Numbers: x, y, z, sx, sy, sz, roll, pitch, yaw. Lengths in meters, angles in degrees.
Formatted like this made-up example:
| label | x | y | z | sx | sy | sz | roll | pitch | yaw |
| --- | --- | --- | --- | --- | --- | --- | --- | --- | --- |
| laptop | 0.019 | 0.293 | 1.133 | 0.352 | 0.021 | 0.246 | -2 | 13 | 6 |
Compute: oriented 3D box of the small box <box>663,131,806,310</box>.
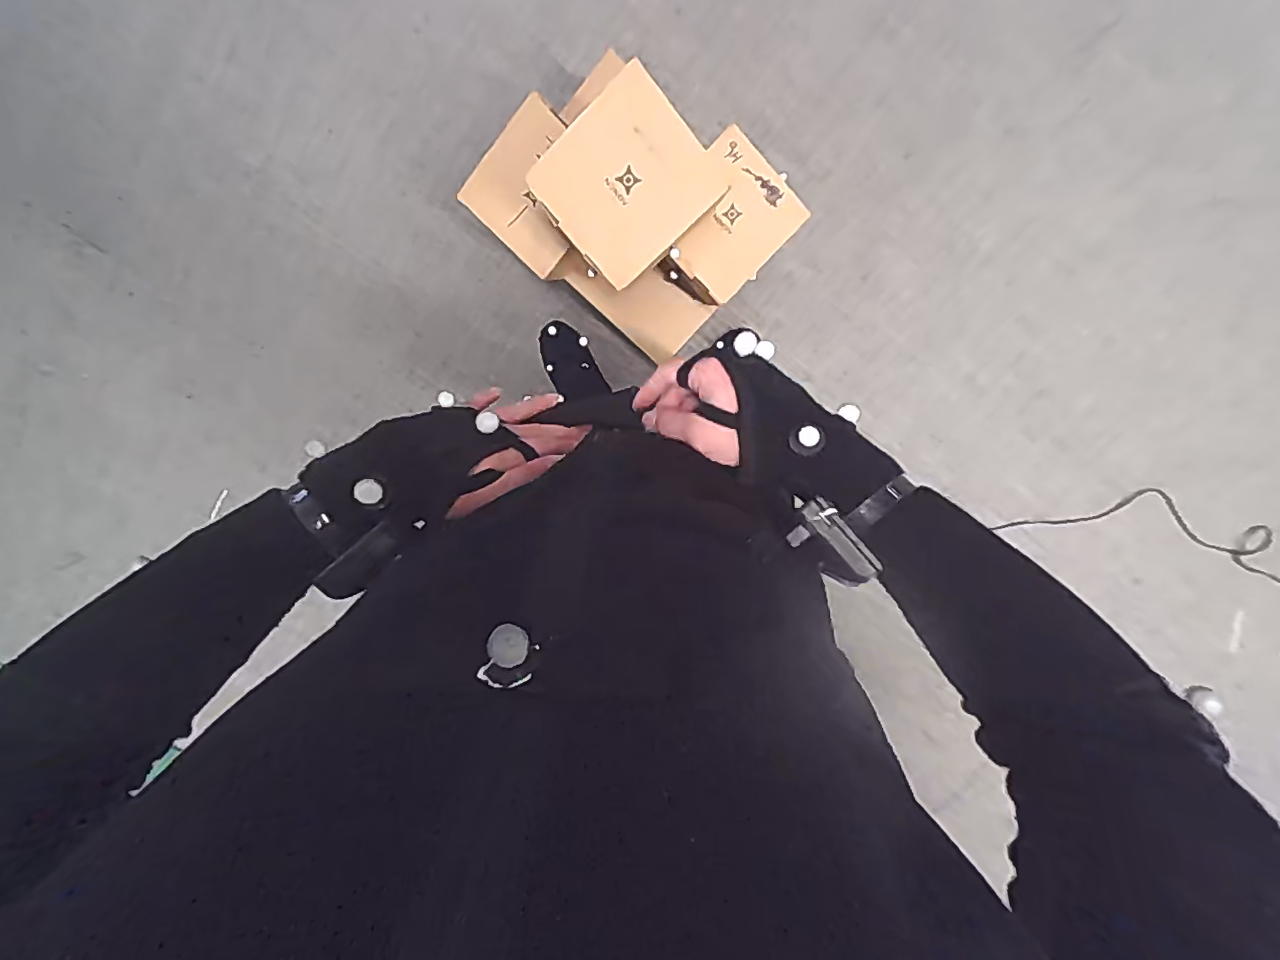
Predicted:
| label | x | y | z | sx | sy | sz | roll | pitch | yaw |
| --- | --- | --- | --- | --- | --- | --- | --- | --- | --- |
| small box | 0.123 | -0.385 | 0.842 | 0.168 | 0.176 | 0.179 | 43 | 103 | -11 |

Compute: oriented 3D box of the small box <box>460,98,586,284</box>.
| label | x | y | z | sx | sy | sz | roll | pitch | yaw |
| --- | --- | --- | --- | --- | --- | --- | --- | --- | --- |
| small box | -0.137 | -0.427 | 0.831 | 0.168 | 0.176 | 0.179 | 44 | 106 | -12 |

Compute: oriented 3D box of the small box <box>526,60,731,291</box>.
| label | x | y | z | sx | sy | sz | roll | pitch | yaw |
| --- | --- | --- | --- | --- | --- | --- | --- | --- | --- |
| small box | -0.012 | -0.356 | 0.680 | 0.179 | 0.176 | 0.168 | -41 | 104 | 11 |
